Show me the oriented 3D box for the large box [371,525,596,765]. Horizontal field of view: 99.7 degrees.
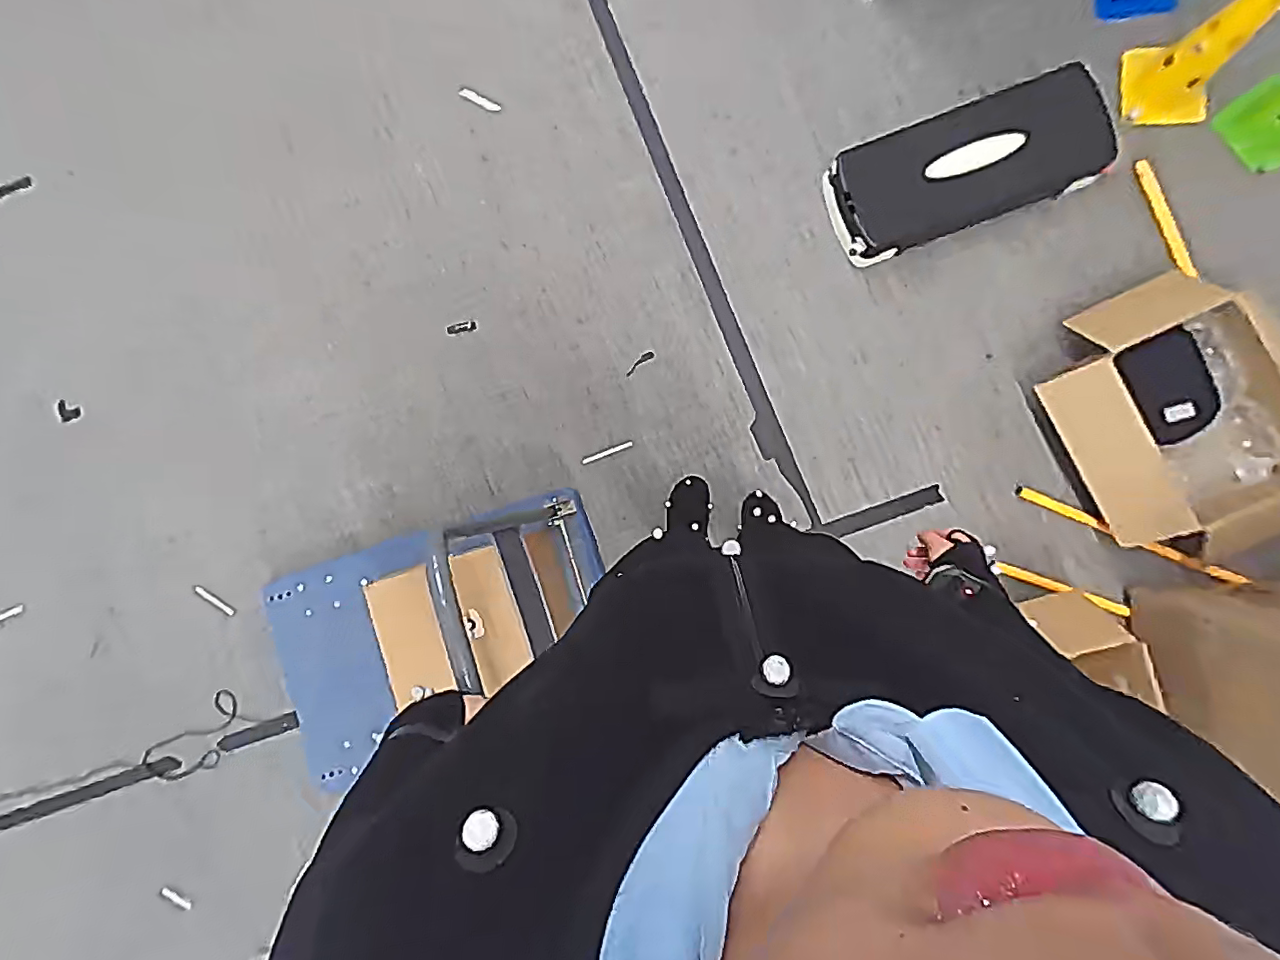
[{"bbox_3d":[-0.326,0.343,1.220,0.320,0.320,0.408,-17,88,6],"label":"large box"}]
